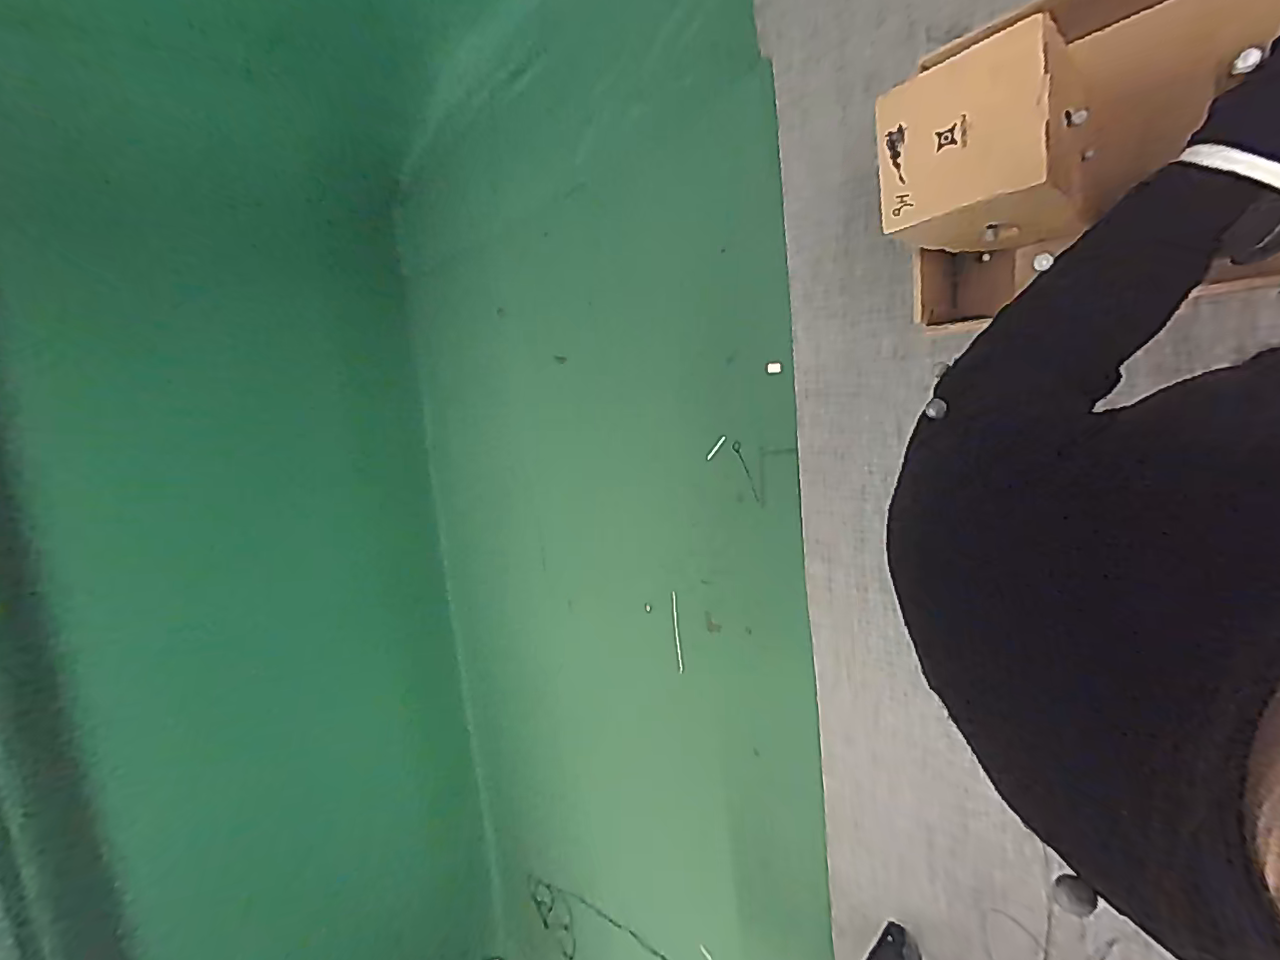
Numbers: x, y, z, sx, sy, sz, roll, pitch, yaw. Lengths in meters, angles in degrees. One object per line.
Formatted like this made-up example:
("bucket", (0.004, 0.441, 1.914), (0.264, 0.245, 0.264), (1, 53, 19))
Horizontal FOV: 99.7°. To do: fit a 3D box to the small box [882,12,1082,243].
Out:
("small box", (0.425, -0.410, 0.669), (0.179, 0.176, 0.168), (2, 100, 48))
